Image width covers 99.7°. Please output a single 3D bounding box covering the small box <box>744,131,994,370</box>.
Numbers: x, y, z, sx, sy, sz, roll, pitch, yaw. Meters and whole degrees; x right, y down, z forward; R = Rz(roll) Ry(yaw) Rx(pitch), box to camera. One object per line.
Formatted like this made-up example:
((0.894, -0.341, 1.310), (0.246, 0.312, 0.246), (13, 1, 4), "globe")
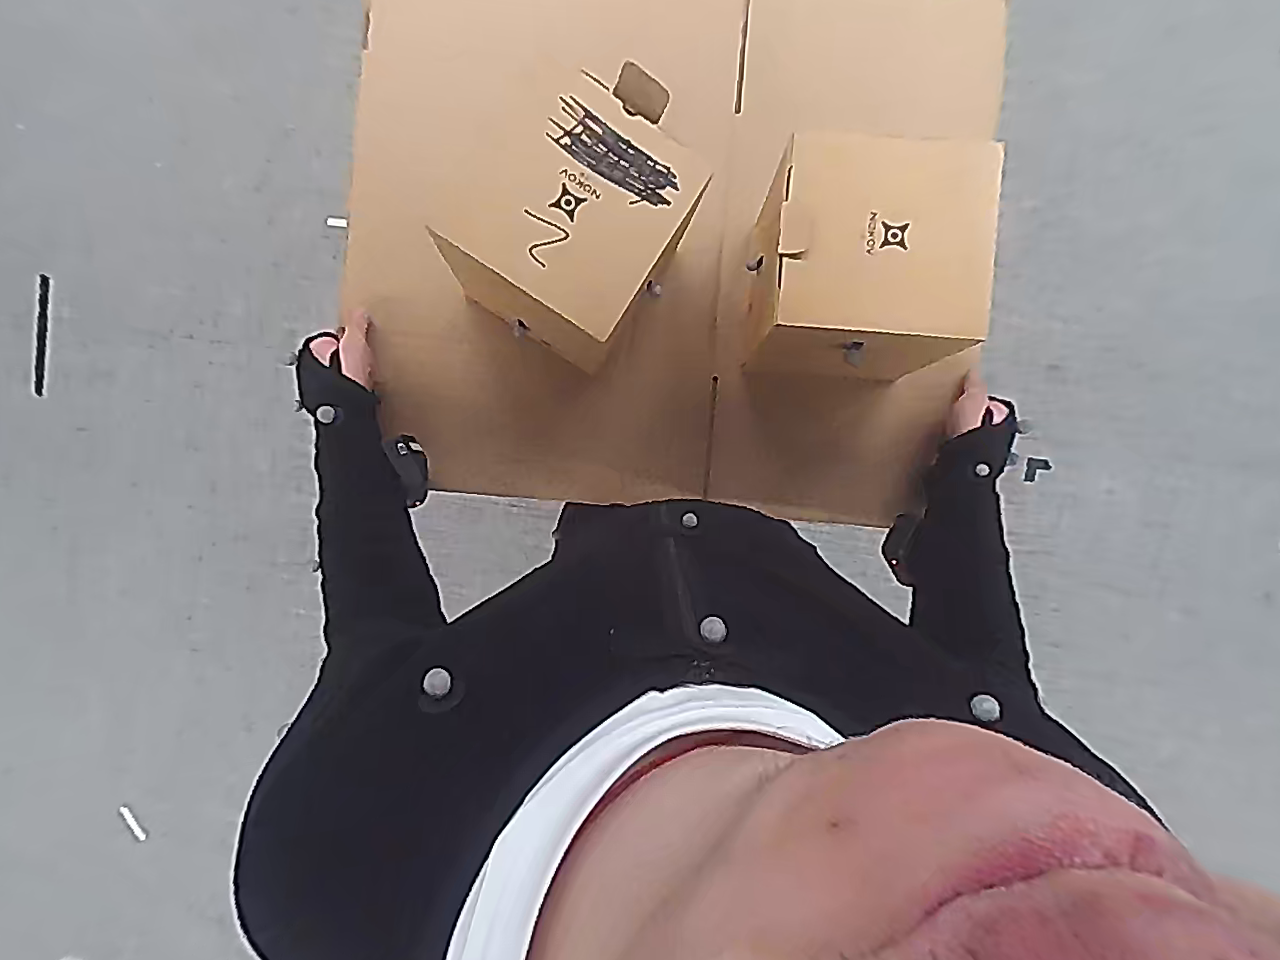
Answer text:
((0.210, -0.211, 0.542), (0.179, 0.176, 0.168), (5, 90, 2), "small box")
